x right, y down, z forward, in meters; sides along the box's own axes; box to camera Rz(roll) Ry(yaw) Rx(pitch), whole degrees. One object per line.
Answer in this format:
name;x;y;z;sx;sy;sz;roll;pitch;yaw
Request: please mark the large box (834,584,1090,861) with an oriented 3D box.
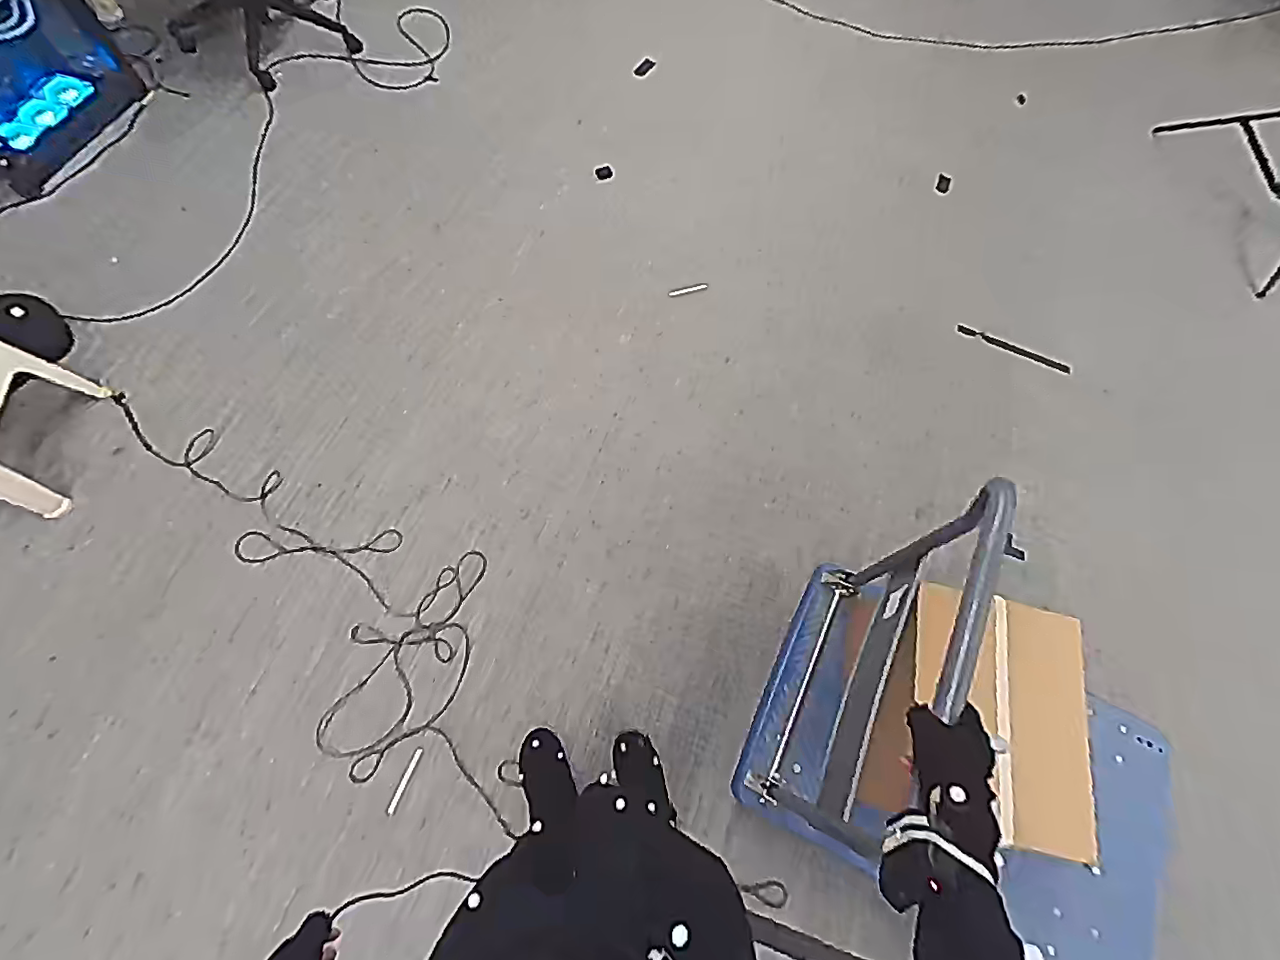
large box;0.610;0.459;1.087;0.320;0.320;0.408;13;68;1
